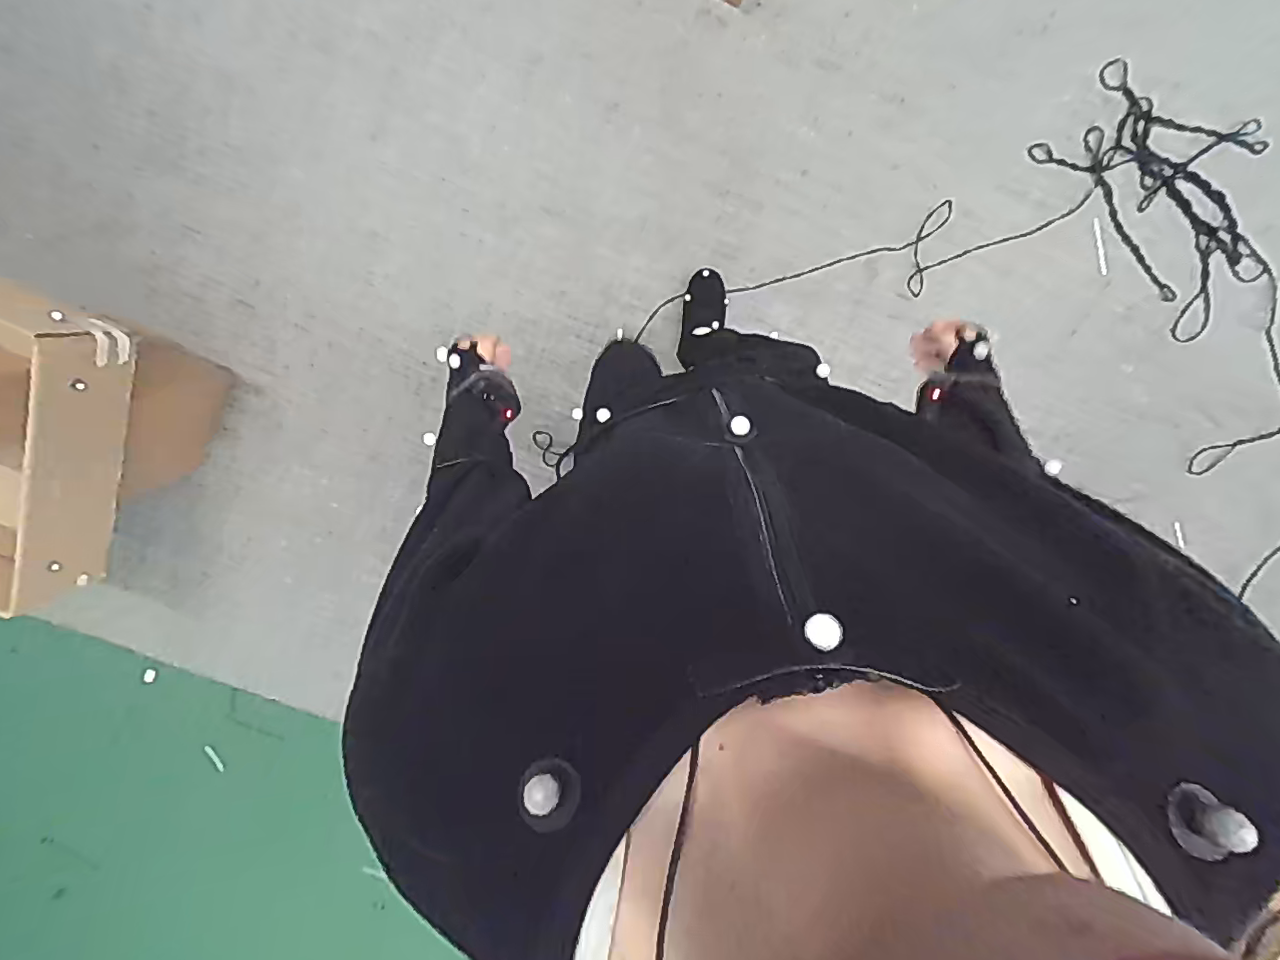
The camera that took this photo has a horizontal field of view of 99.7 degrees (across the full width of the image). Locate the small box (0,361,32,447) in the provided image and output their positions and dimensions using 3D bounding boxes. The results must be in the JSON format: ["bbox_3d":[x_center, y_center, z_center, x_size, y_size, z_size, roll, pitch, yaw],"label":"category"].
[{"bbox_3d":[-1.264,-0.145,0.956,0.179,0.176,0.168,25,106,-6],"label":"small box"}]

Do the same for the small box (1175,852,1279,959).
[{"bbox_3d":[1.067,0.762,0.892,0.179,0.176,0.168,21,105,-6],"label":"small box"}]

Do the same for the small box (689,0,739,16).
[{"bbox_3d":[0.157,-1.111,1.110,0.179,0.176,0.168,22,105,-5],"label":"small box"}]
